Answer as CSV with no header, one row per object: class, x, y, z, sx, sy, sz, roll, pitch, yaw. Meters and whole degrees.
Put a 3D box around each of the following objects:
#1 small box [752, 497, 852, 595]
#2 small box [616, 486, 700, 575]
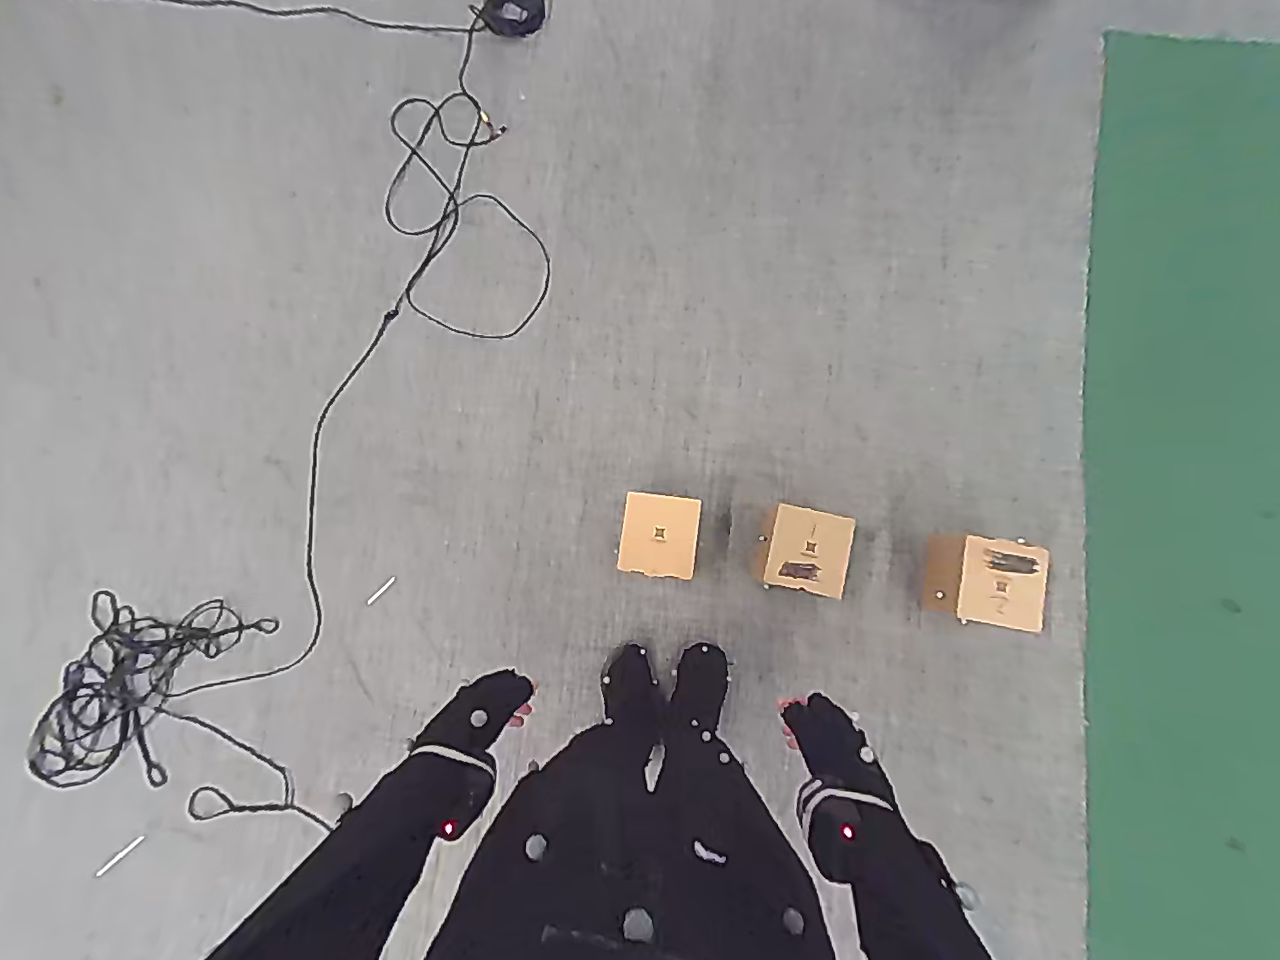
small box,0.355,0.148,1.215,0.168,0.176,0.179,13,83,6
small box,0.044,0.118,1.245,0.168,0.176,0.179,6,83,6
